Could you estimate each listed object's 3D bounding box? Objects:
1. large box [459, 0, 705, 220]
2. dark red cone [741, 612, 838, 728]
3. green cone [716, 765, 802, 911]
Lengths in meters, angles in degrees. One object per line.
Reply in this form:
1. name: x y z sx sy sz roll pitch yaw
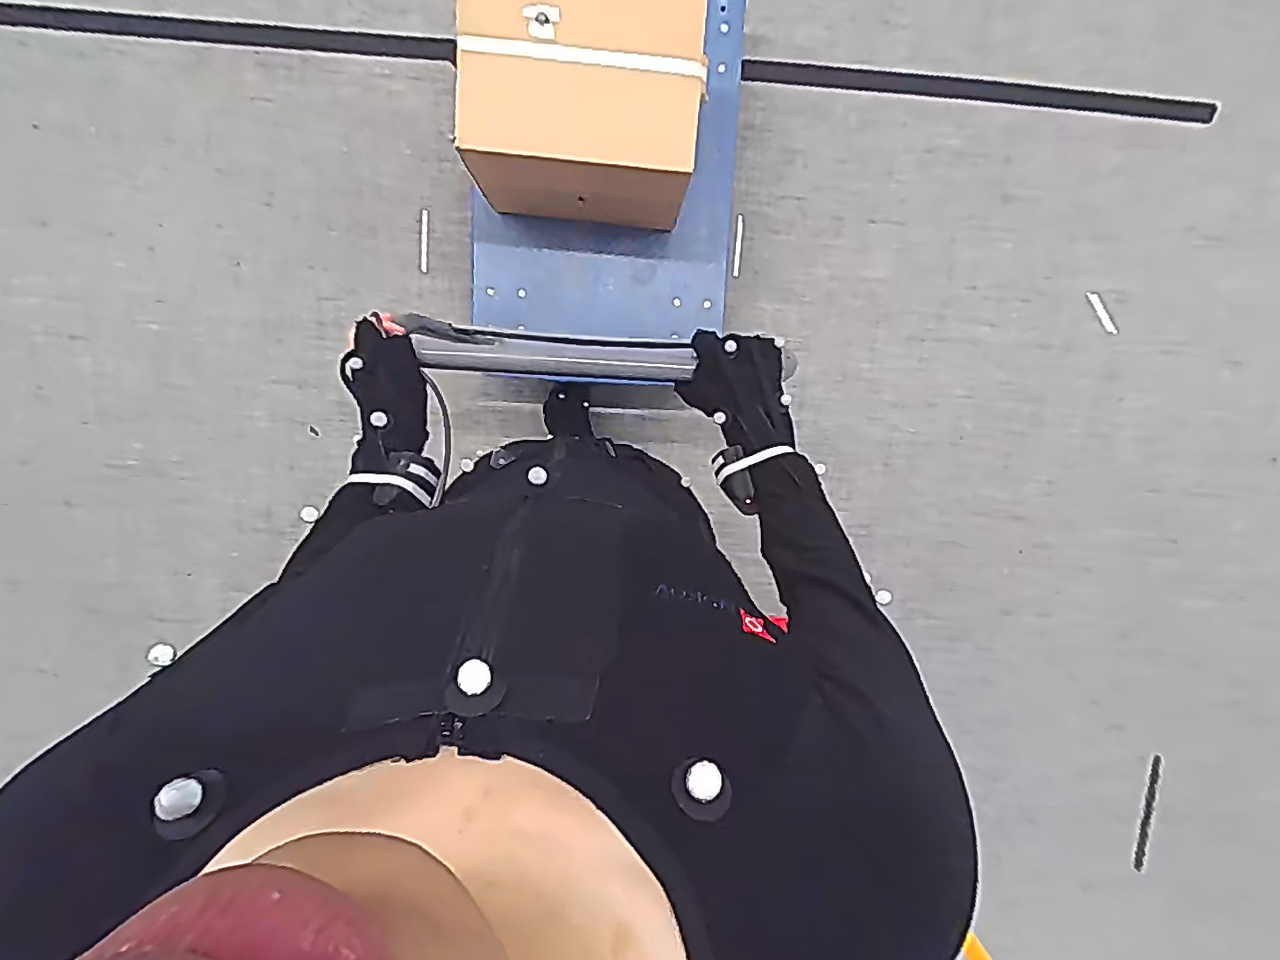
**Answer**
1. large box: -0.100 -0.718 1.040 0.408 0.320 0.320 4 98 -2
2. dark red cone: 0.396 0.494 1.357 0.201 0.394 0.202 3 98 -4
3. green cone: 0.343 0.970 1.440 0.202 0.368 0.200 7 98 -4
